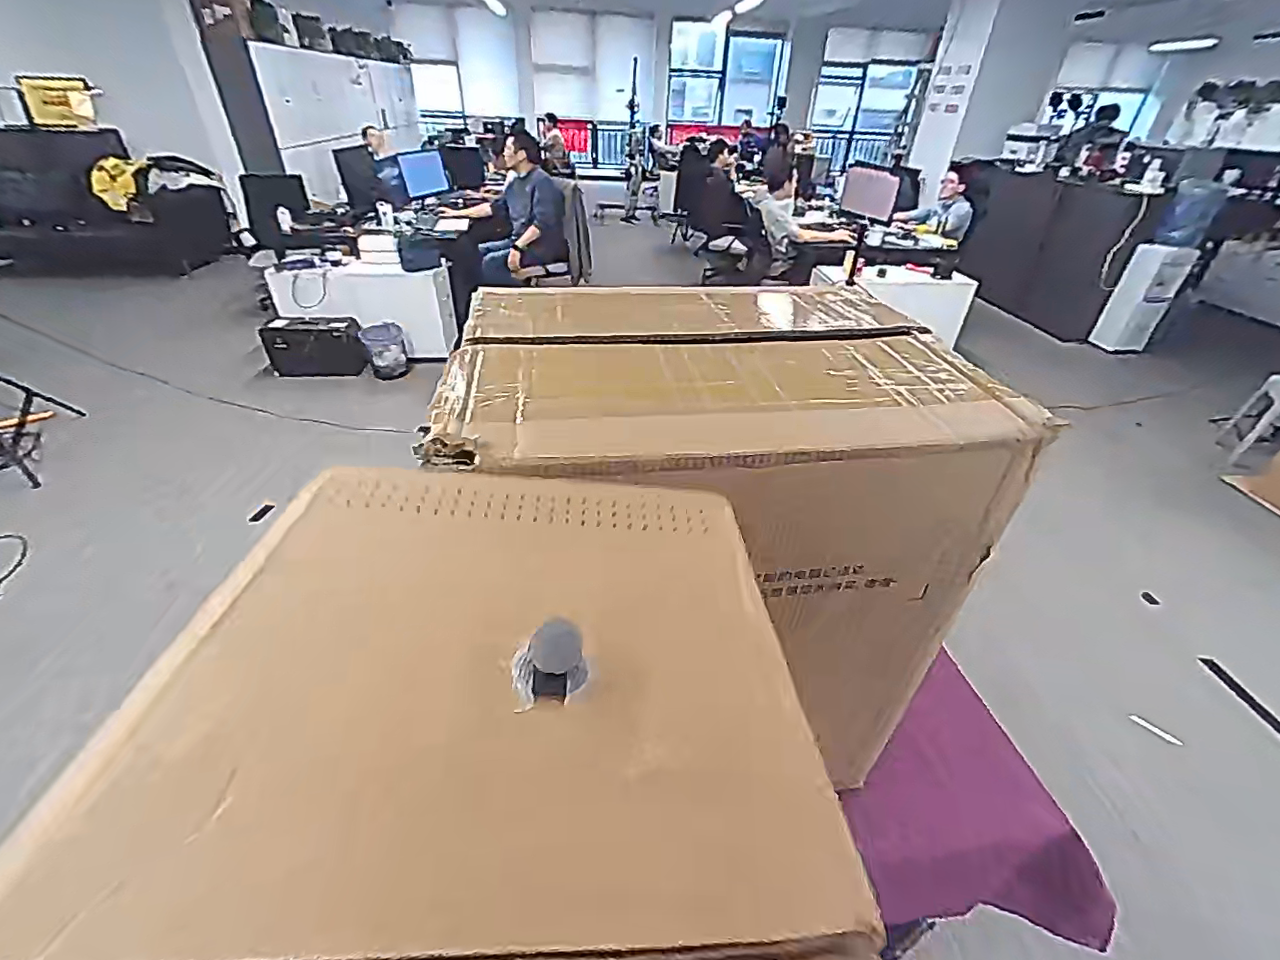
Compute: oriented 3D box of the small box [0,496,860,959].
[{"bbox_3d":[-0.054,0.119,0.212,0.179,0.168,0.176,4,29,-8],"label":"small box"}]
